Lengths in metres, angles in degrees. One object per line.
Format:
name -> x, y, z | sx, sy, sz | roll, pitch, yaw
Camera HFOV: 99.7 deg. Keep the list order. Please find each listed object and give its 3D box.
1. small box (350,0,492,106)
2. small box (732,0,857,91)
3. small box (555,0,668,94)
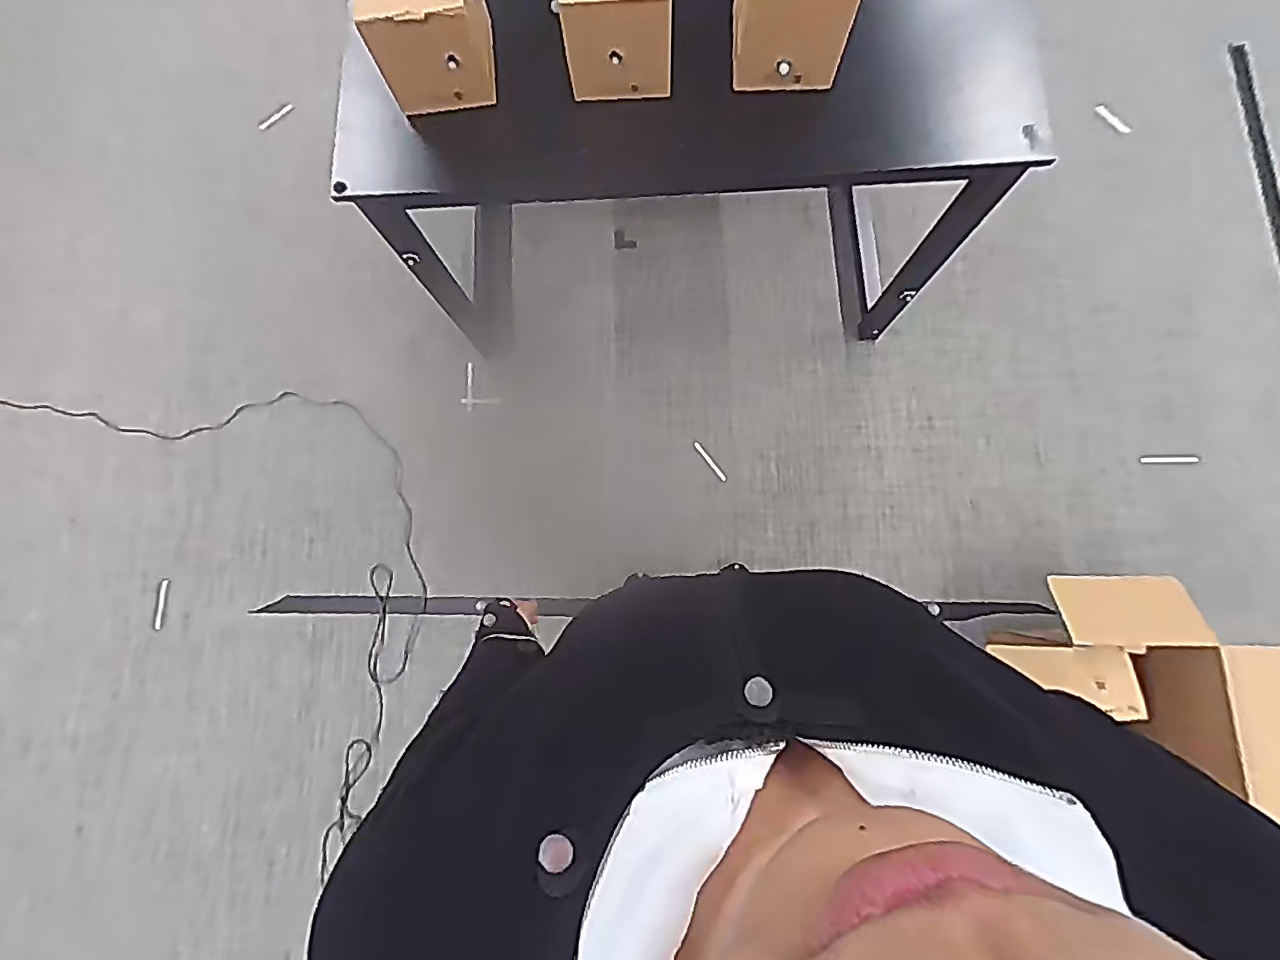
small box -> -0.345, -0.744, 0.878 | 0.168, 0.176, 0.179 | -7, 79, 0
small box -> 0.237, -0.765, 0.857 | 0.168, 0.176, 0.179 | 1, 81, 3
small box -> -0.038, -0.756, 0.866 | 0.168, 0.176, 0.179 | -1, 80, 2
